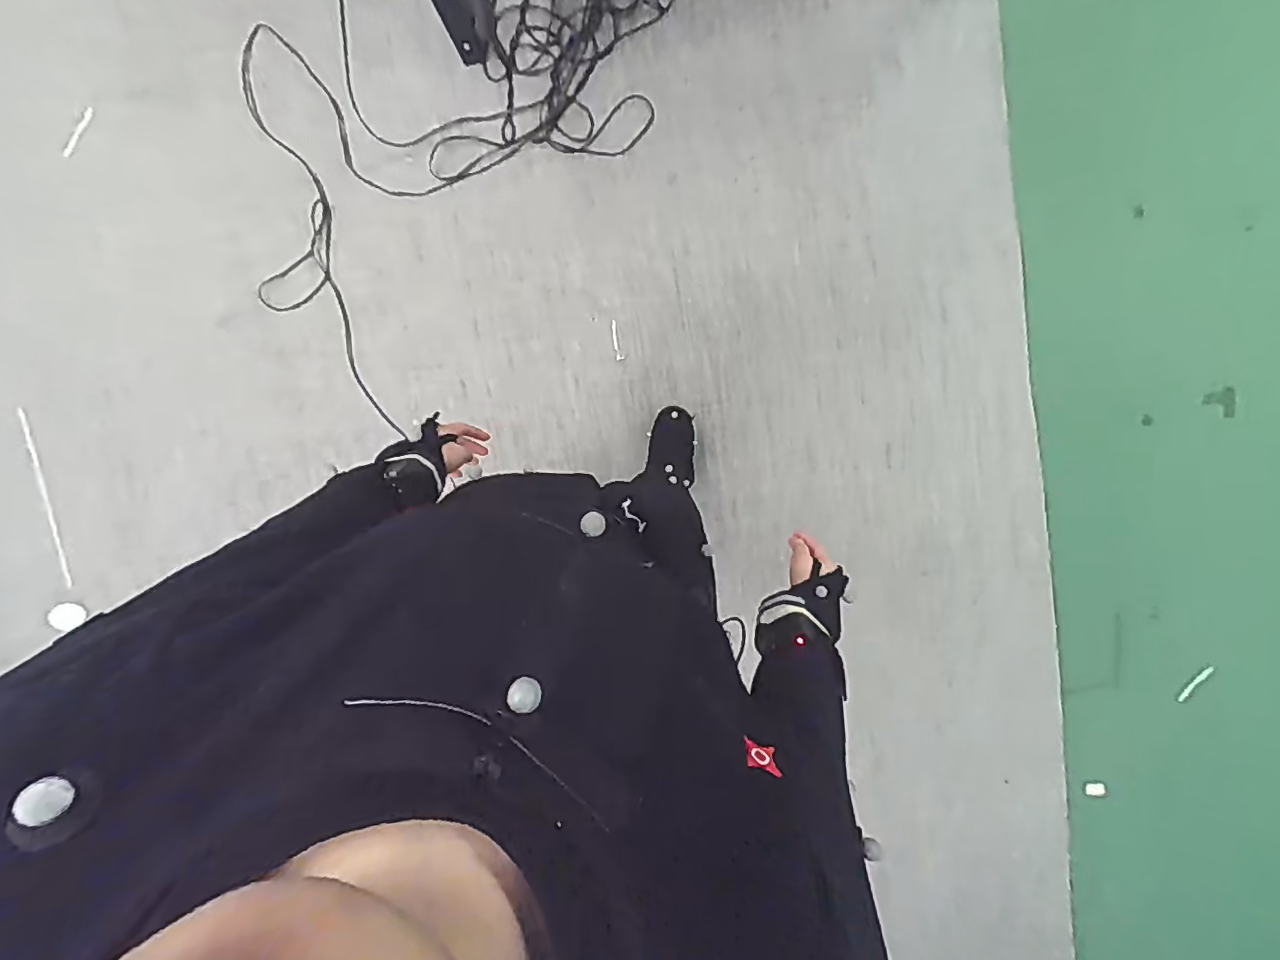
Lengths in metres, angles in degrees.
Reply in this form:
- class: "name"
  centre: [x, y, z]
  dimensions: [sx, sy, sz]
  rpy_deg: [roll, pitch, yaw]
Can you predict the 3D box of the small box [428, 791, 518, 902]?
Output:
- class: "small box"
  centre: [-0.417, 0.917, 1.369]
  dimensions: [0.168, 0.176, 0.179]
  rpy_deg: [-4, 96, 2]
